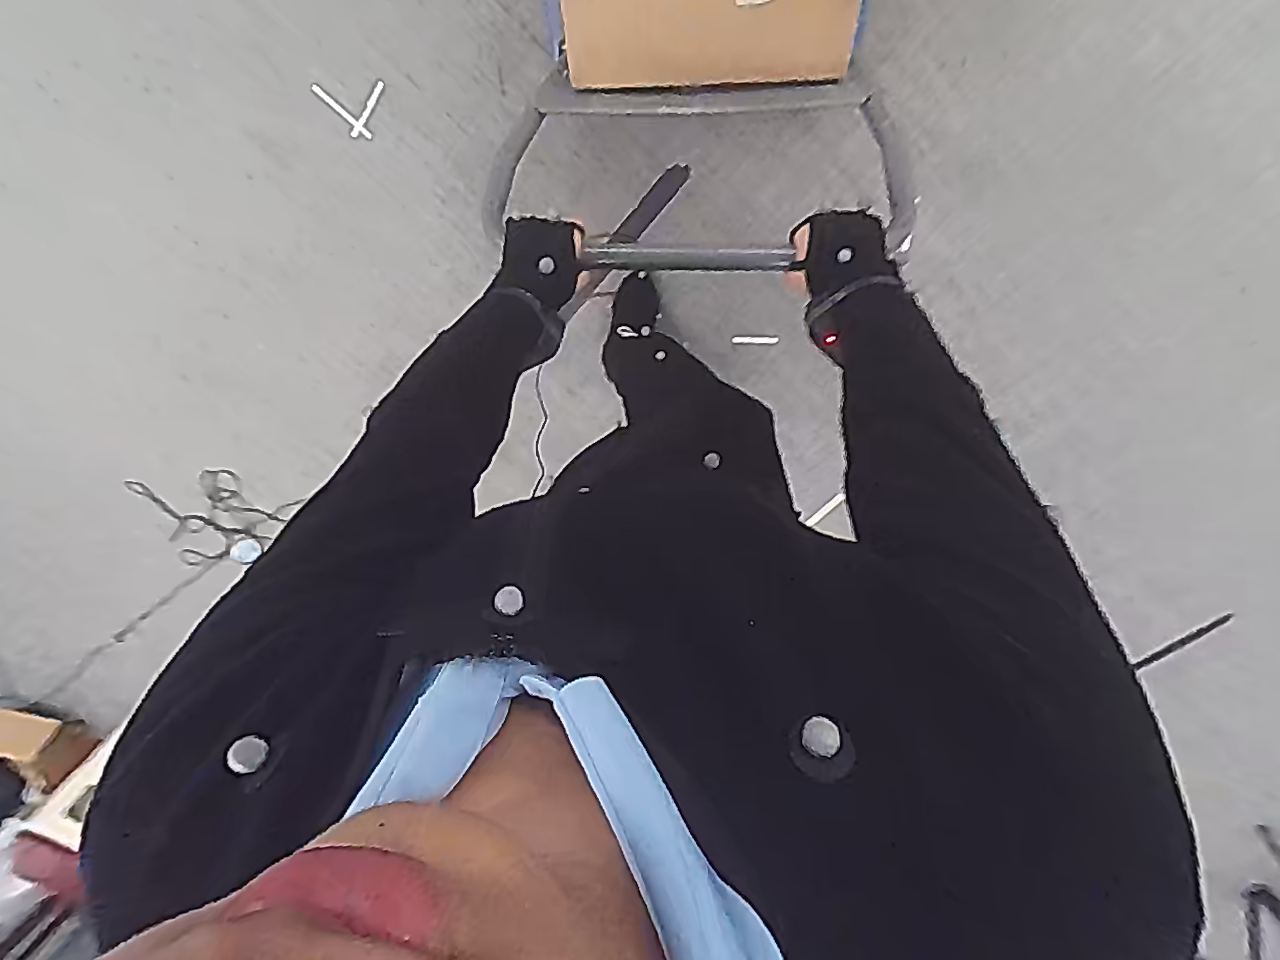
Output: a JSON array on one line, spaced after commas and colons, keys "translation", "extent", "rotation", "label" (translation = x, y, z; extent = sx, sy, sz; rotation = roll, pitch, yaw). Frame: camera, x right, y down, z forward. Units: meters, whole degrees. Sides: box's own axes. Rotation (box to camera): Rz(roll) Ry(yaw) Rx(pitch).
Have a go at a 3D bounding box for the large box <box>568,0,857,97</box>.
[{"translation": [0.103, -0.802, 0.805], "extent": [0.408, 0.320, 0.320], "rotation": [1, 137, 6], "label": "large box"}]
